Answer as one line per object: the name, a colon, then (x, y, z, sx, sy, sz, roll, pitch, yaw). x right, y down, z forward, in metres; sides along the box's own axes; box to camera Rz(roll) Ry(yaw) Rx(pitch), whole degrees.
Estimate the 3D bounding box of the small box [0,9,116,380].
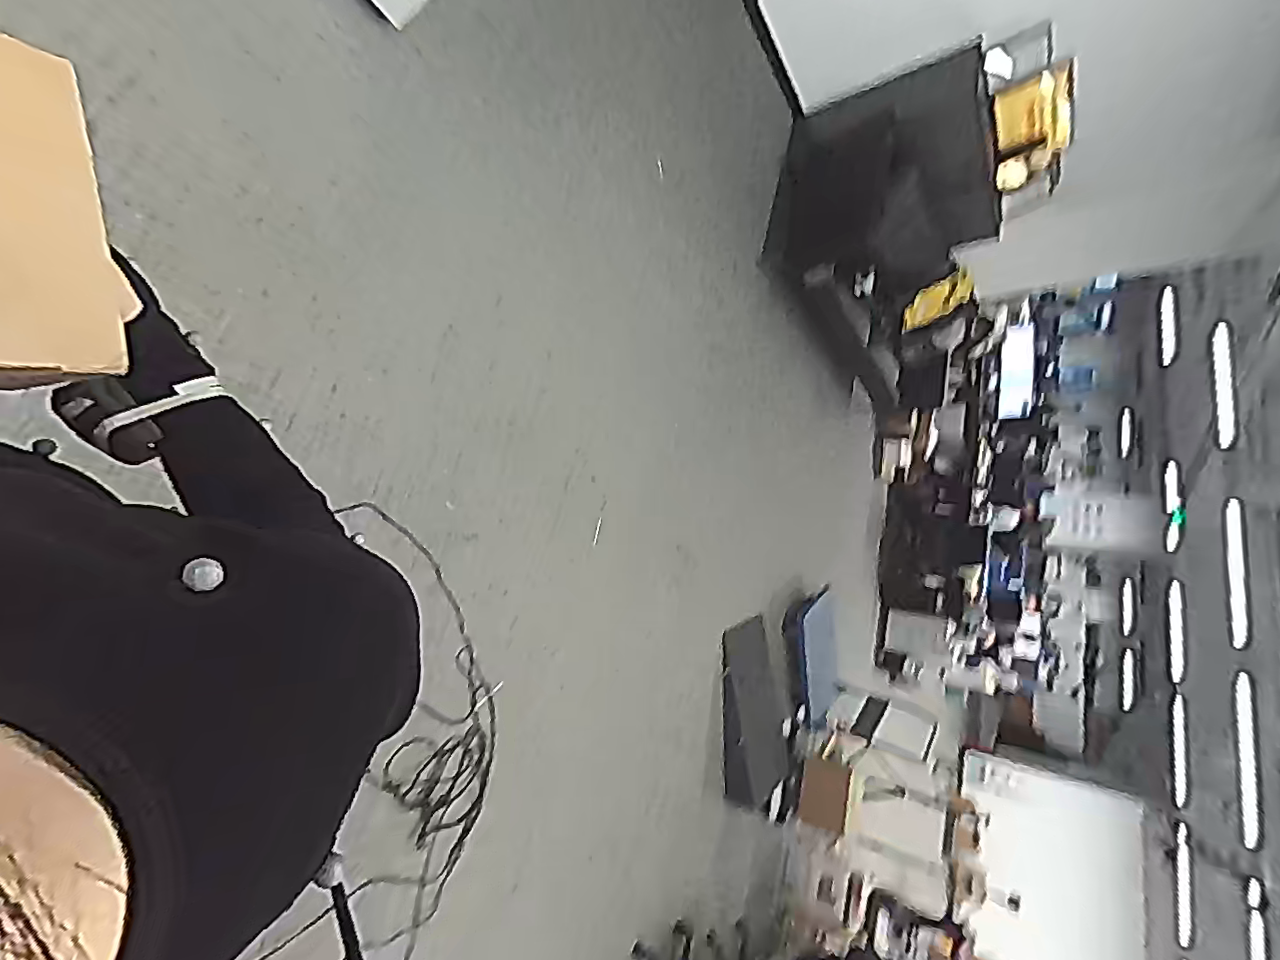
small box: (-0.412, -0.144, 0.263, 0.168, 0.176, 0.179, -16, 106, -64)
